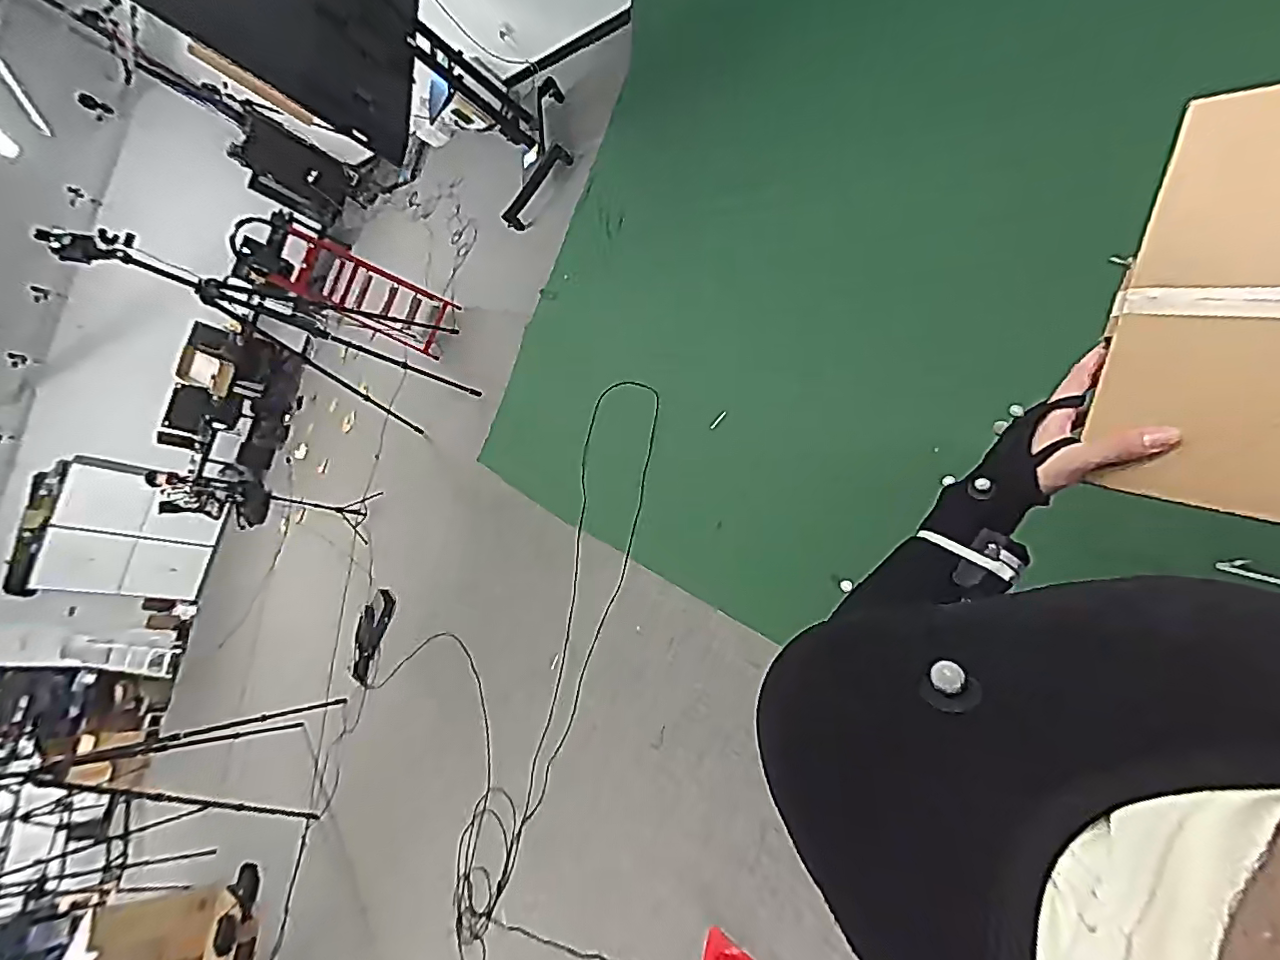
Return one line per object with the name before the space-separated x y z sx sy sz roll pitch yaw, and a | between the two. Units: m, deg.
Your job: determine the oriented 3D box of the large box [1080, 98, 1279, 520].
large box | 0.658 -0.101 0.428 0.408 0.320 0.320 20 103 45
